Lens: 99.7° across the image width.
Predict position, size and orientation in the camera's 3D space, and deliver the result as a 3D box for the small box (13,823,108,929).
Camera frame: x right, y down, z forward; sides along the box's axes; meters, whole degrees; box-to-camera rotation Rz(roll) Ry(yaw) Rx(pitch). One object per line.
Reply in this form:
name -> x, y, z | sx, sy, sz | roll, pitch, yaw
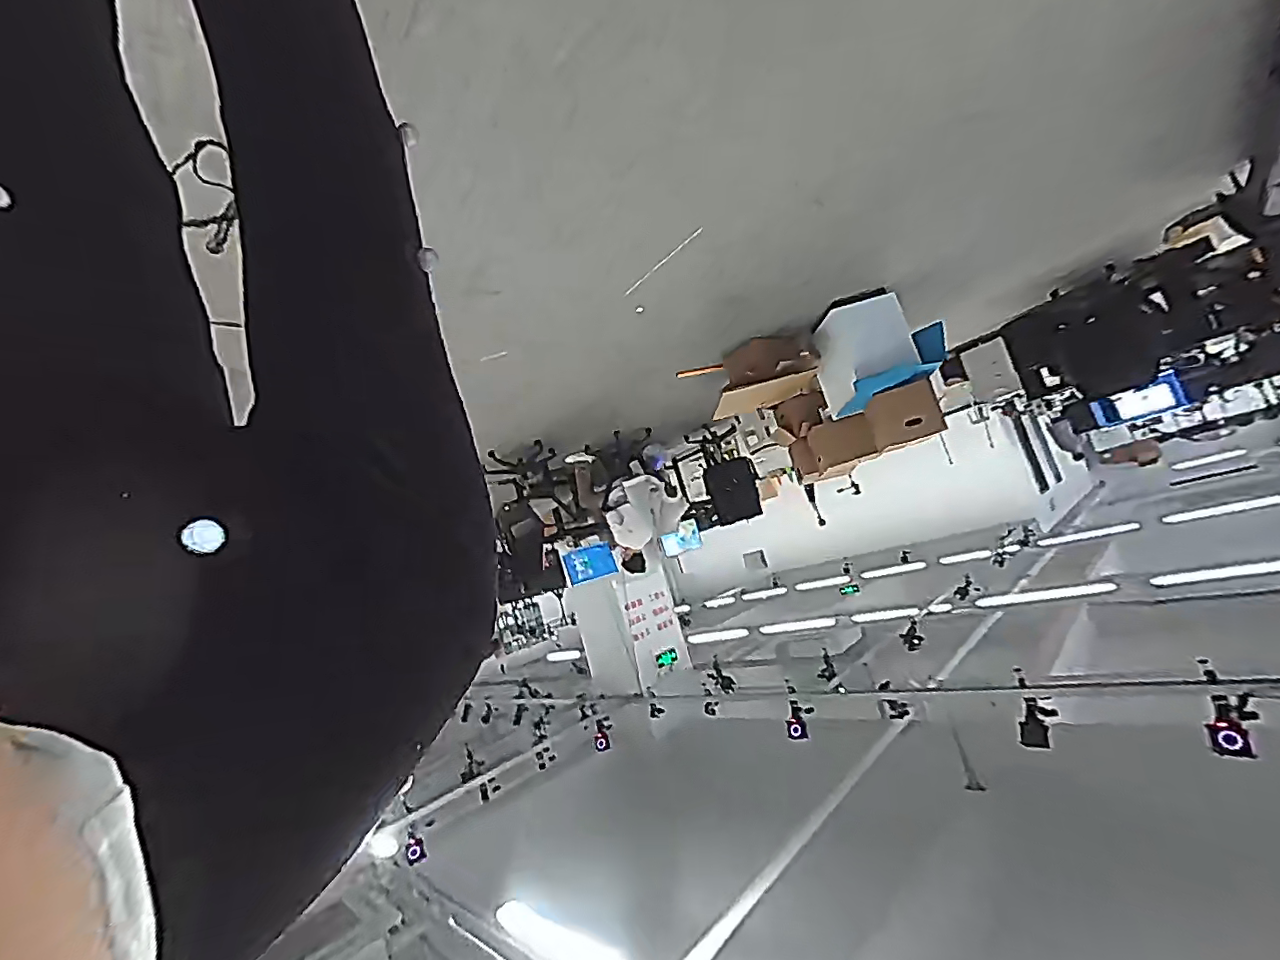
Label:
small box -> -1.621, 1.094, 1.517 | 0.168, 0.176, 0.179 | -9, 171, -46
